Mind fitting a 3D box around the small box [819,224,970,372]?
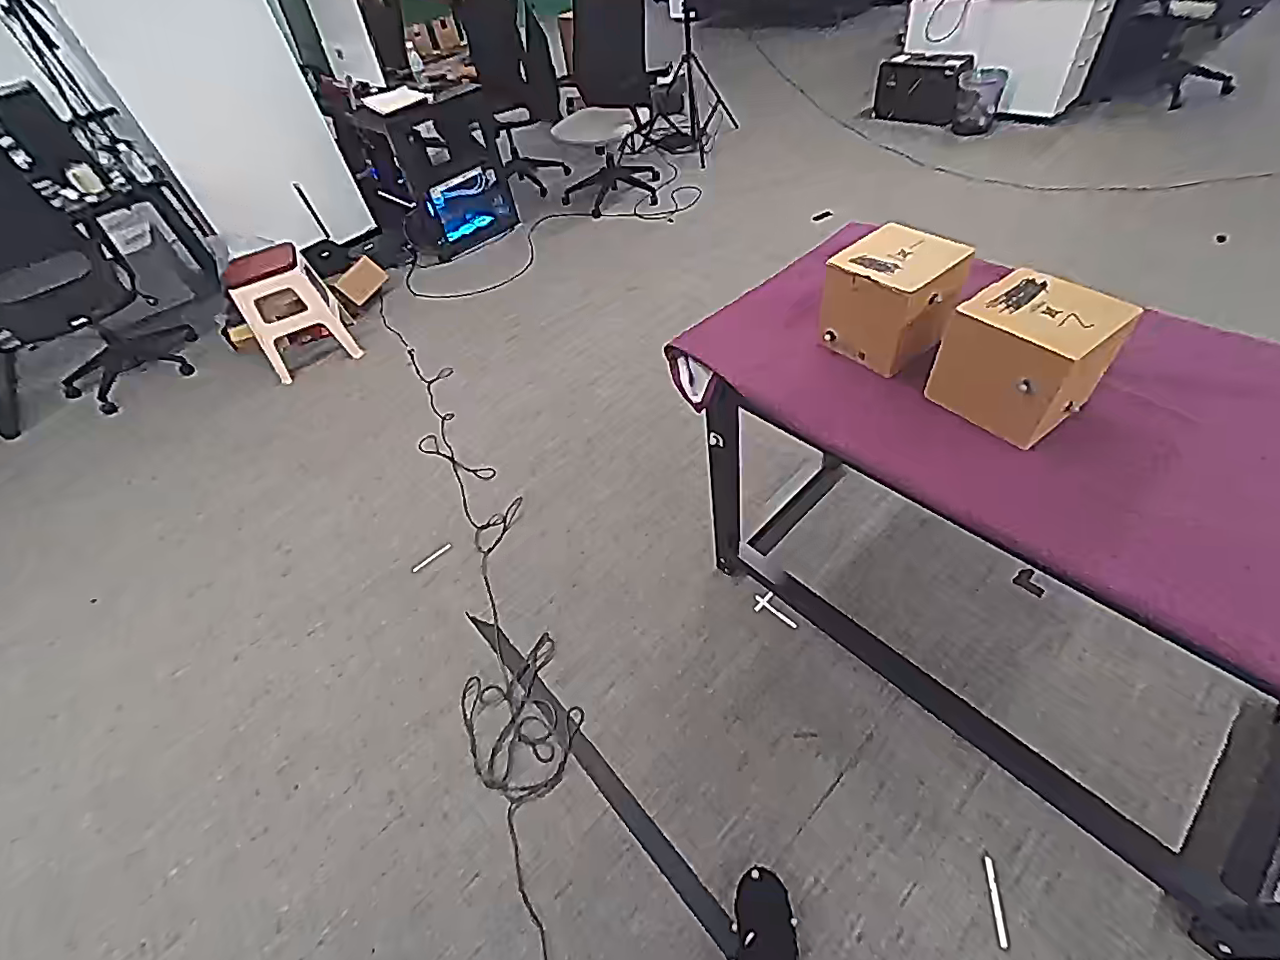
[{"bbox_3d":[0.440,-0.322,0.966,0.179,0.176,0.168,-34,52,-18],"label":"small box"}]
